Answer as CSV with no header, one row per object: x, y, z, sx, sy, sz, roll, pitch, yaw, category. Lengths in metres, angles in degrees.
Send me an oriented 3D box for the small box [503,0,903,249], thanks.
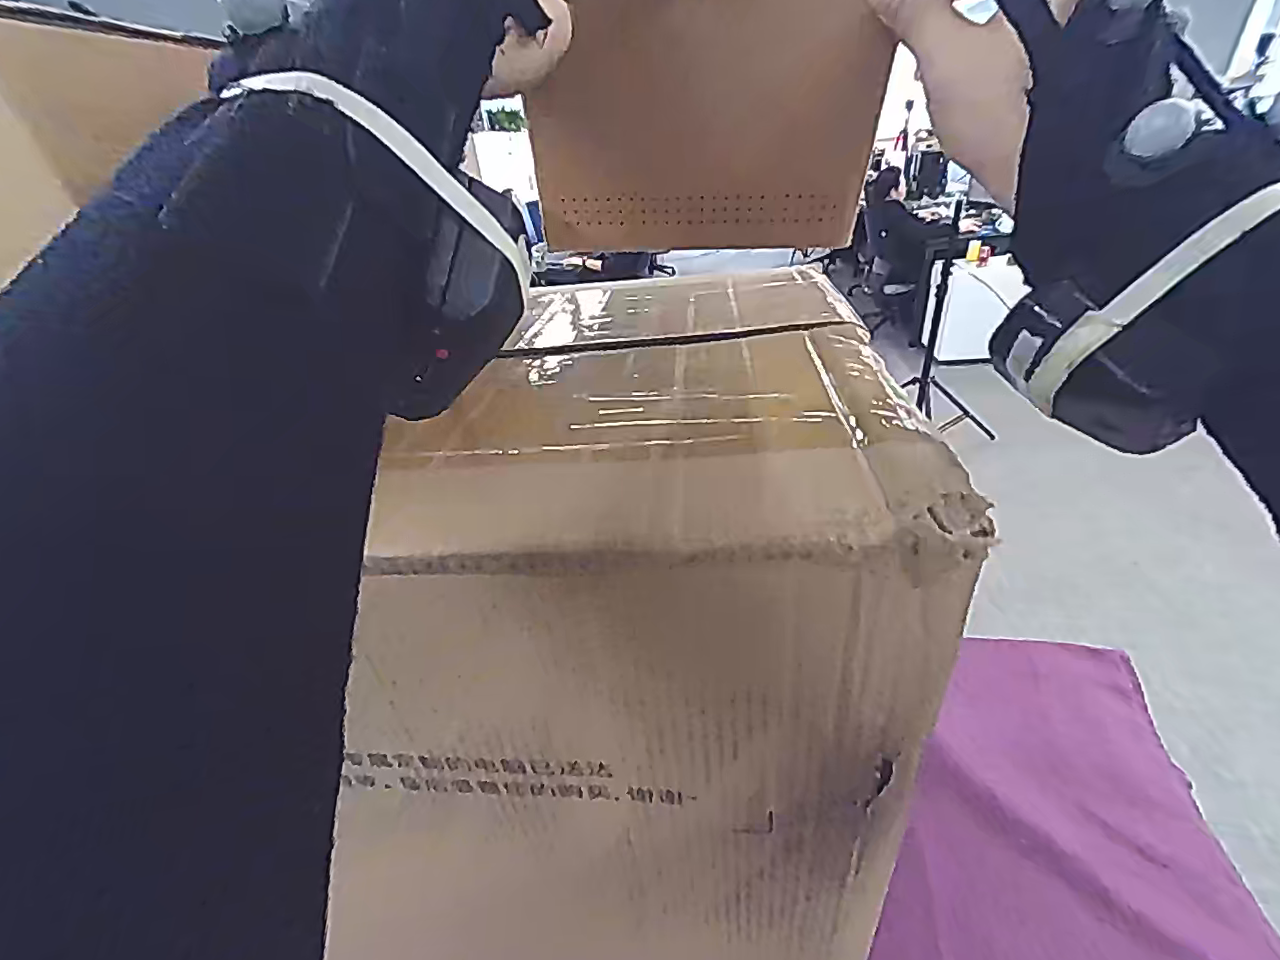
0.036,-0.246,0.301,0.179,0.176,0.168,2,50,7,small box
